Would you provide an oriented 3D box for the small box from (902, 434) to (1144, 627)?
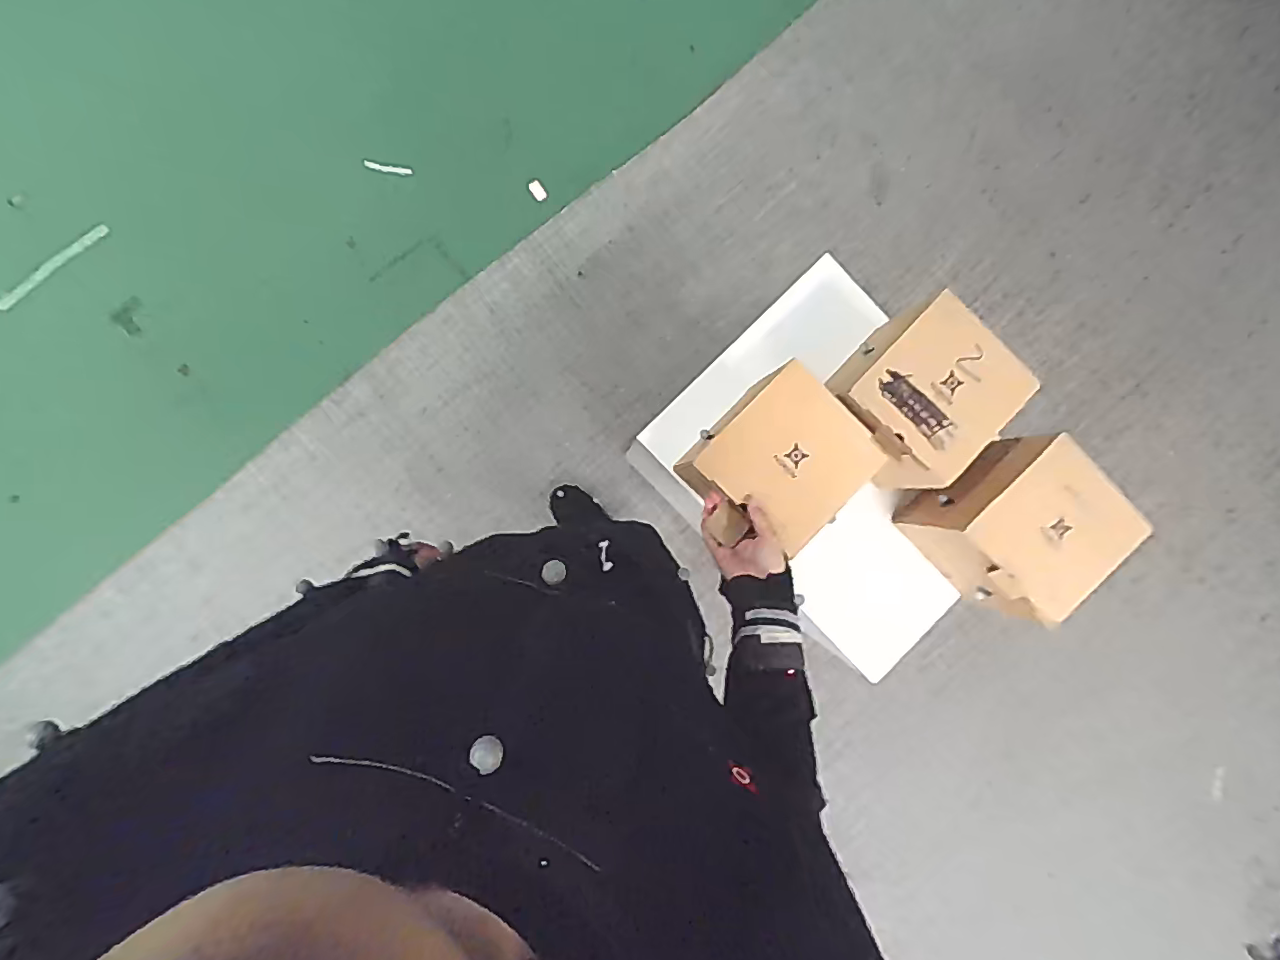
[{"bbox_3d":[0.489,0.061,0.726,0.179,0.176,0.168,-45,93,-3],"label":"small box"}]
